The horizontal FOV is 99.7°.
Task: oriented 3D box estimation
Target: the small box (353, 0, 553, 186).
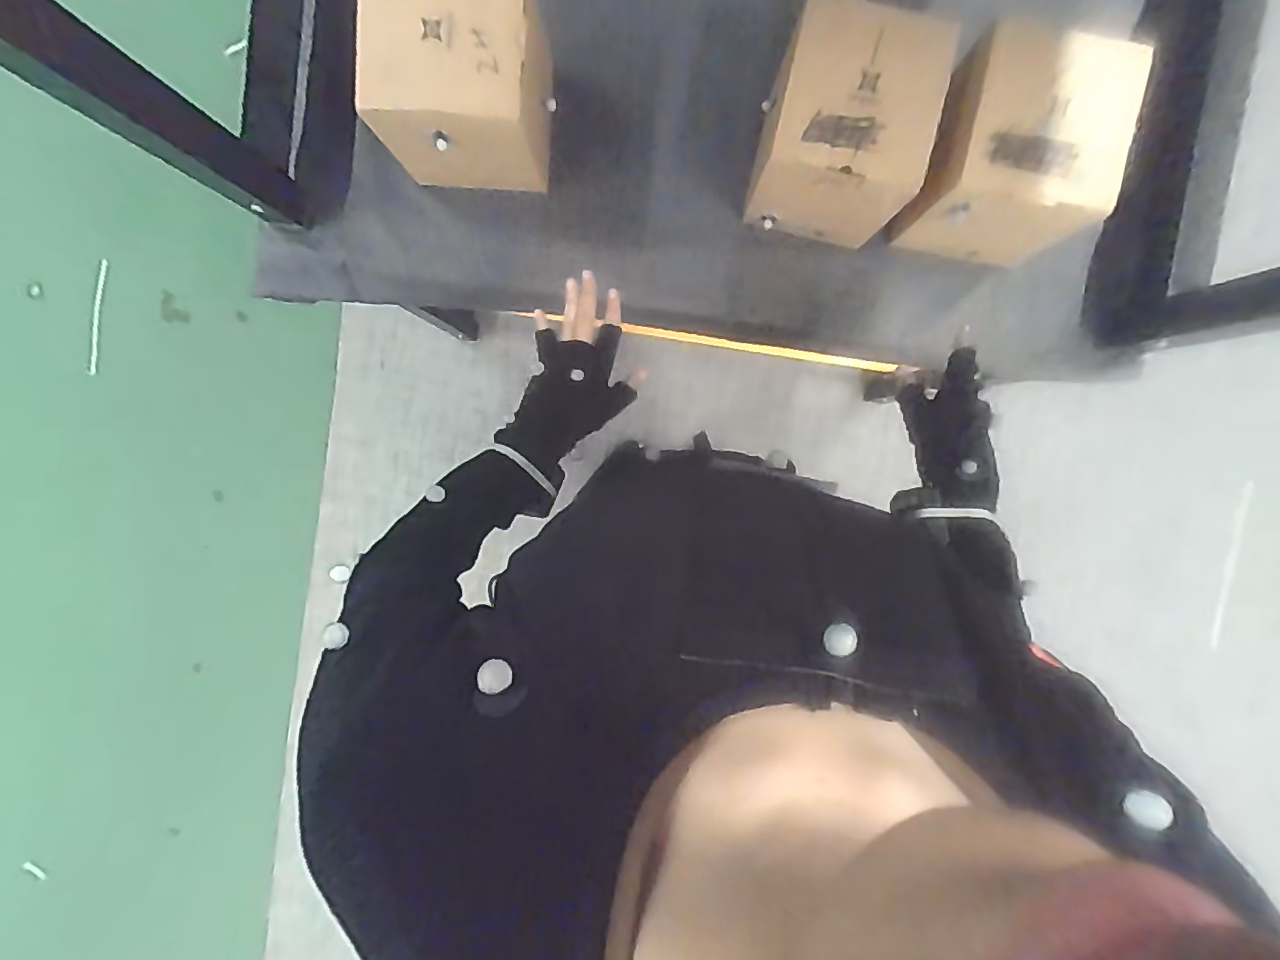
[{"bbox_3d":[-0.208,-0.473,0.641,0.179,0.176,0.168,4,95,-1],"label":"small box"}]
